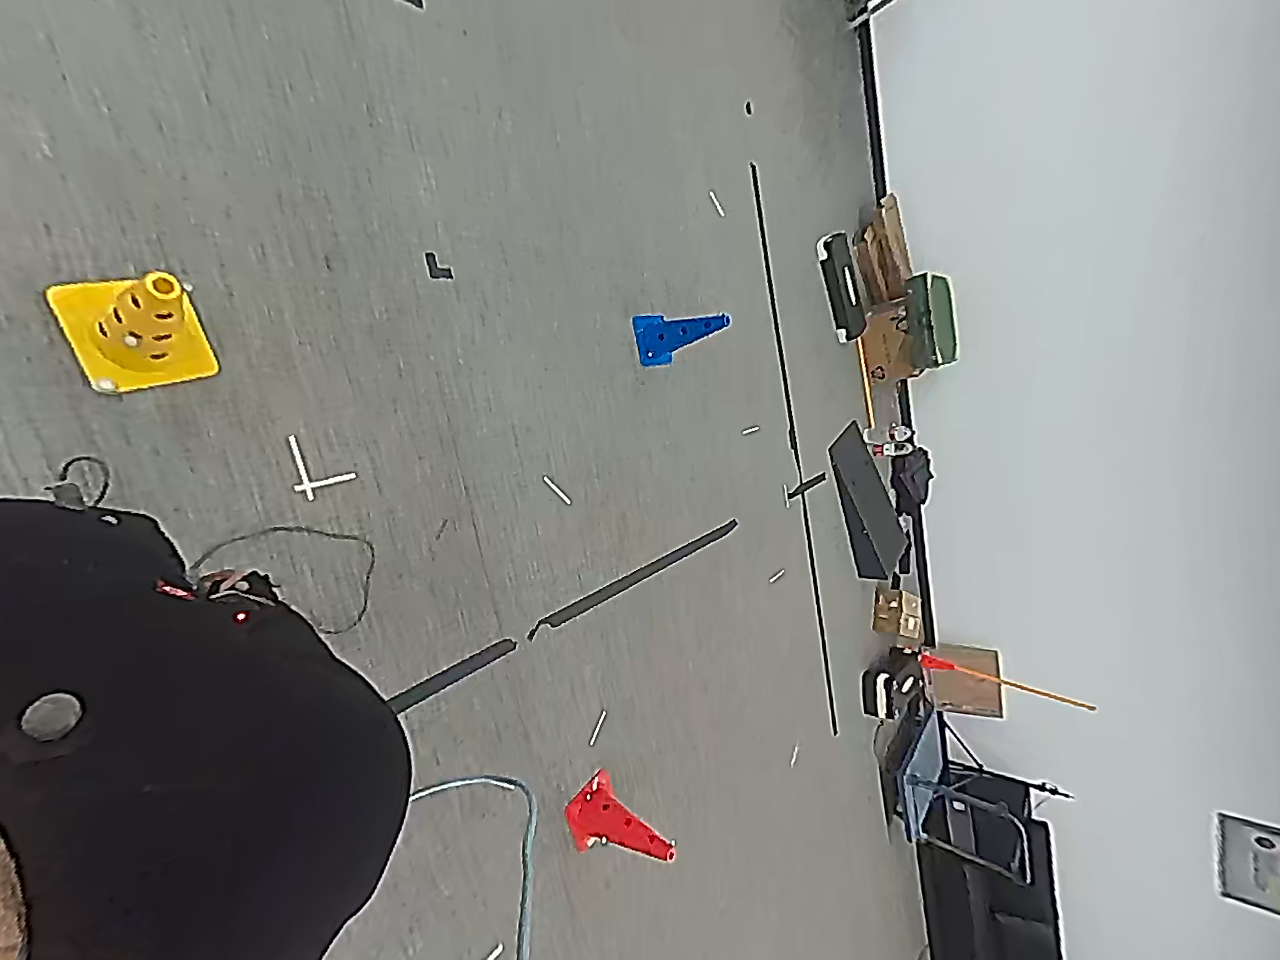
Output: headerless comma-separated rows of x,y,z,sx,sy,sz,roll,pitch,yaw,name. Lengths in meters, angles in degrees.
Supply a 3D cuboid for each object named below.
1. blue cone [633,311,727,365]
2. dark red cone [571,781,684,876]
0.167,-0.566,2.048,0.193,0.380,0.192,-19,101,-47,blue cone
-0.022,1.154,1.725,0.202,0.394,0.201,-30,109,-44,dark red cone
